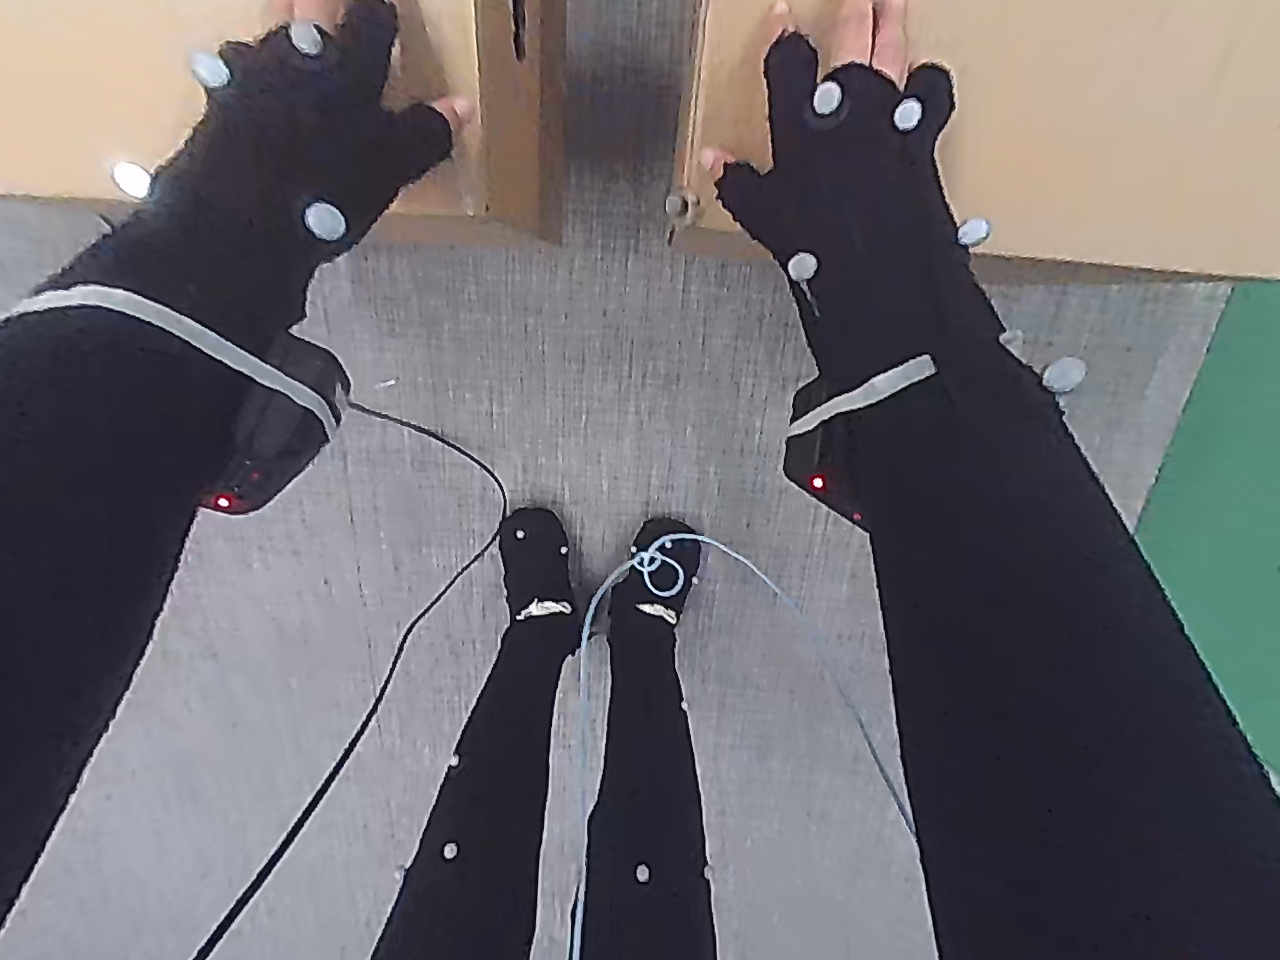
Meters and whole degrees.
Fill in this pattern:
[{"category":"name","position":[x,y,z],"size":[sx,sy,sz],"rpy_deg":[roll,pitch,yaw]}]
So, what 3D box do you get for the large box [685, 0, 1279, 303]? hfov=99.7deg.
[{"category":"large box","position":[0.259,-0.337,0.469],"size":[0.408,0.320,0.320],"rpy_deg":[6,109,1]}]
